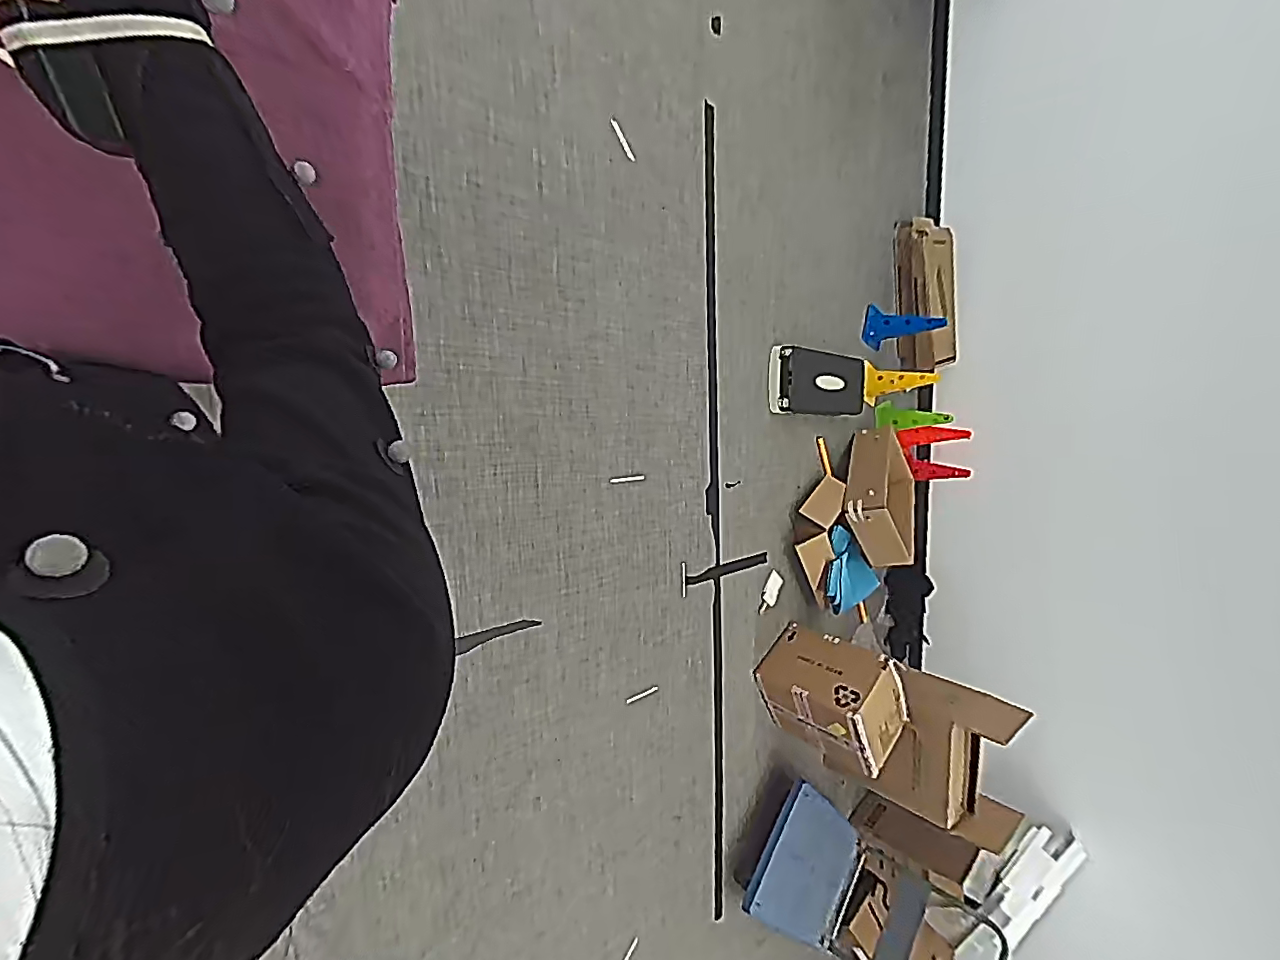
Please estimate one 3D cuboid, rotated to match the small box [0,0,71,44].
[{"bbox_3d":[-0.476,-0.433,0.330,0.168,0.176,0.179,-2,97,-42],"label":"small box"}]
